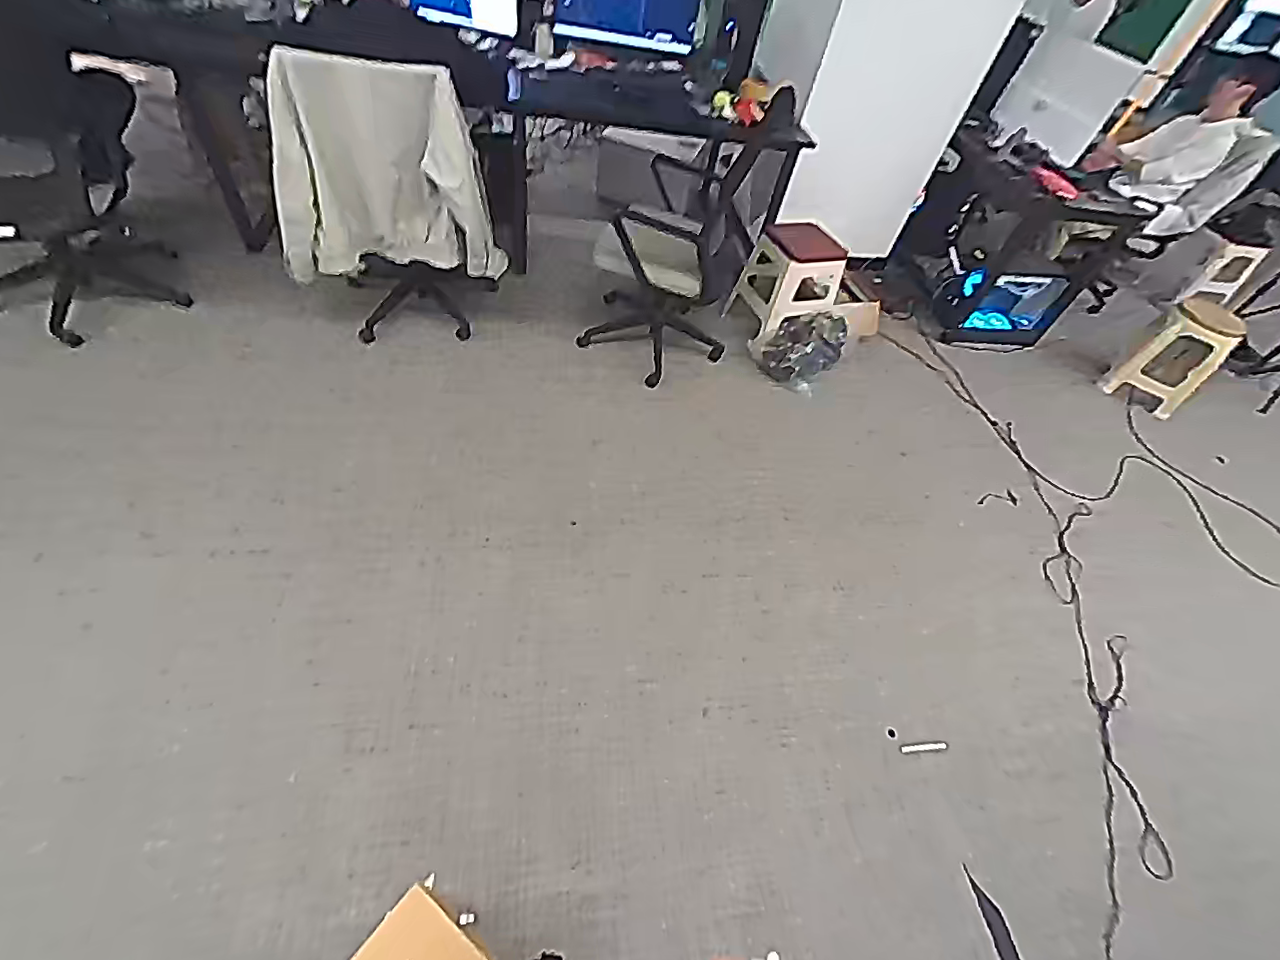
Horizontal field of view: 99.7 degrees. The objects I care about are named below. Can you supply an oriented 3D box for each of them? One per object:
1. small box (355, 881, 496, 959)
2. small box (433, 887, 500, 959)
[{"bbox_3d":[-0.355,0.804,0.882,0.179,0.176,0.168,34,52,15],"label":"small box"},{"bbox_3d":[-0.380,0.909,1.005,0.179,0.176,0.168,34,52,17],"label":"small box"}]
